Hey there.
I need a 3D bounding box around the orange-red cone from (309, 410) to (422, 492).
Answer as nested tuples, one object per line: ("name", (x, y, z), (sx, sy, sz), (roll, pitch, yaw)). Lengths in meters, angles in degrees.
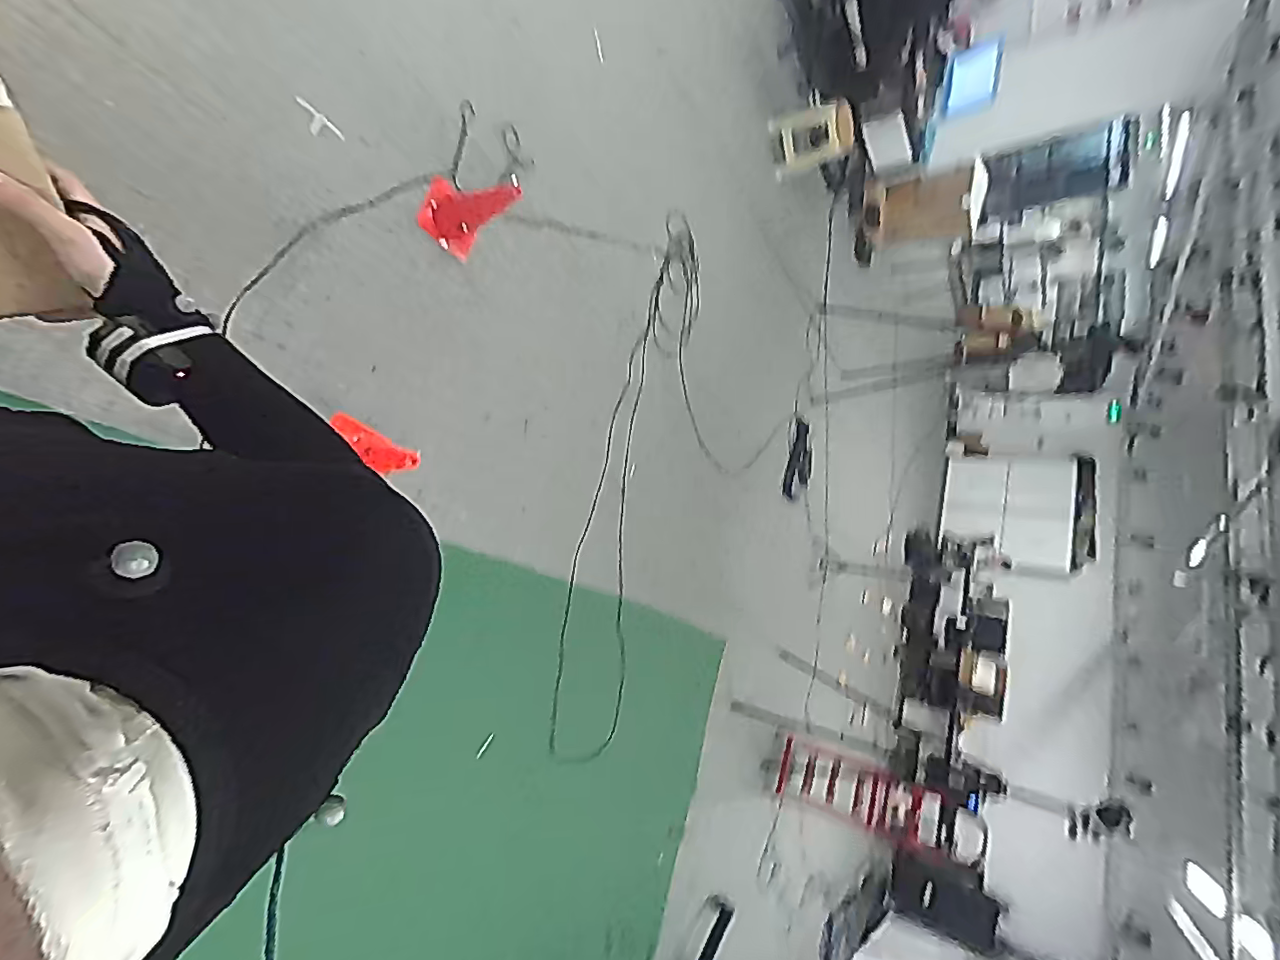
("orange-red cone", (-0.728, -0.073, 1.527), (0.199, 0.360, 0.198), (42, 62, -47))
